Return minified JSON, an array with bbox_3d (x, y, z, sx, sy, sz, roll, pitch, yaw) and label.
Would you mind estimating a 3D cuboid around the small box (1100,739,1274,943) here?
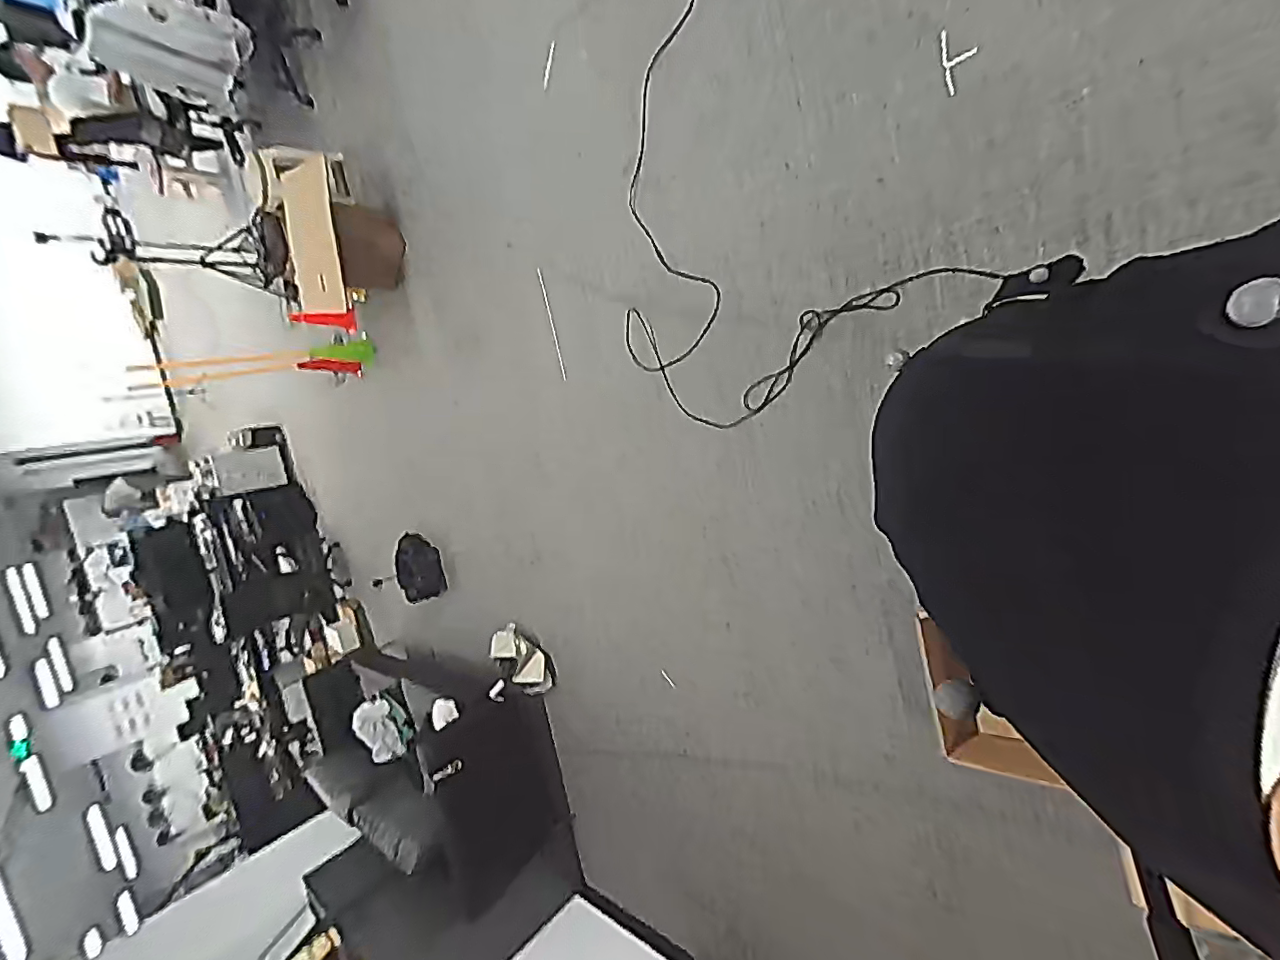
[{"bbox_3d":[0.839,0.537,0.839,0.168,0.176,0.179,-10,97,46],"label":"small box"}]
